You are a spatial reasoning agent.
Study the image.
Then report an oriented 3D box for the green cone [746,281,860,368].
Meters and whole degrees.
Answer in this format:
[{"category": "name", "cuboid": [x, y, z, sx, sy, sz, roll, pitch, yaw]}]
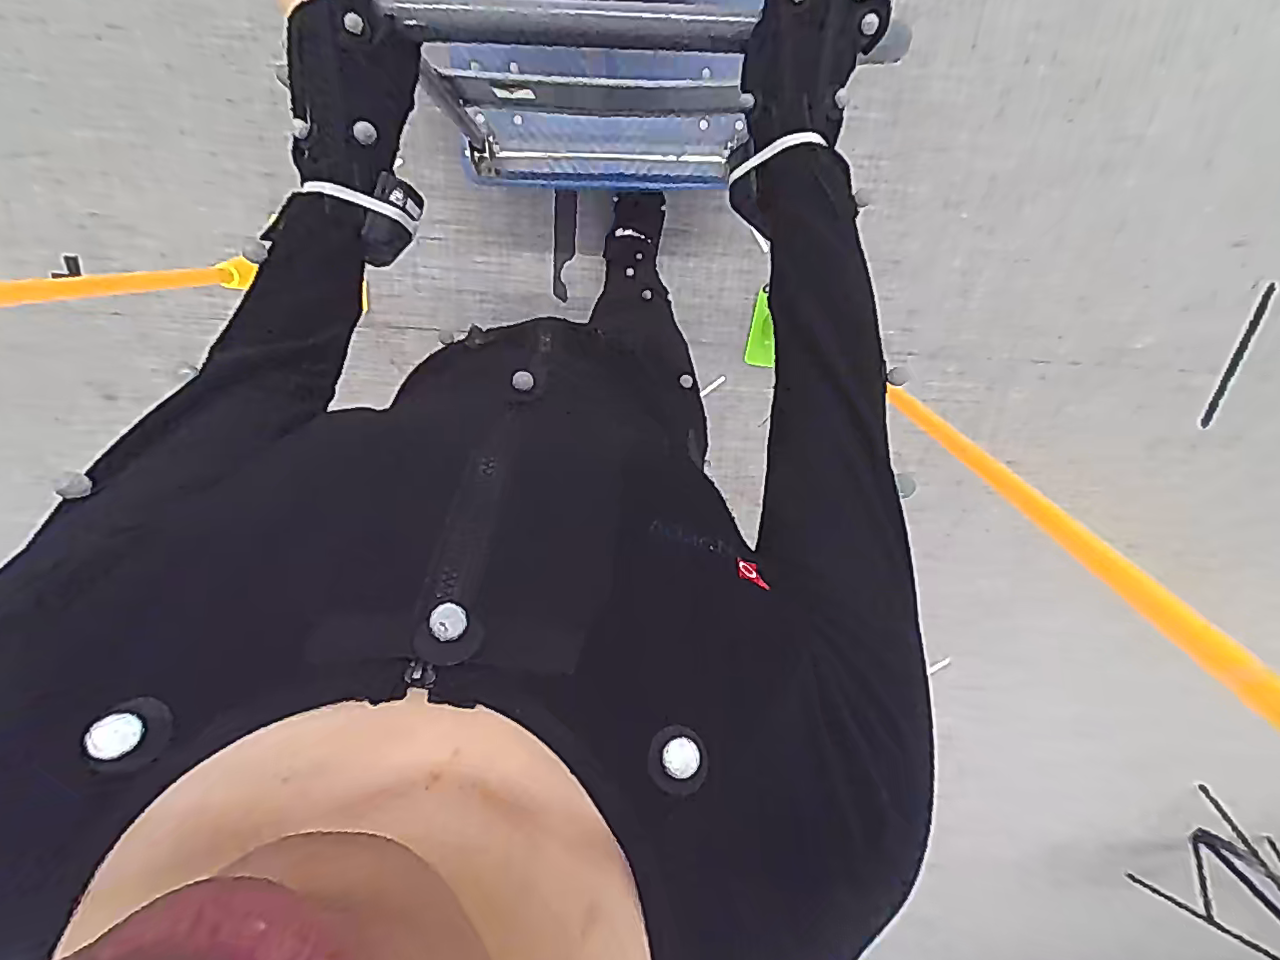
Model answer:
[{"category": "green cone", "cuboid": [0.395, -0.322, 1.223, 0.202, 0.368, 0.200, 6, 114, -7]}]
